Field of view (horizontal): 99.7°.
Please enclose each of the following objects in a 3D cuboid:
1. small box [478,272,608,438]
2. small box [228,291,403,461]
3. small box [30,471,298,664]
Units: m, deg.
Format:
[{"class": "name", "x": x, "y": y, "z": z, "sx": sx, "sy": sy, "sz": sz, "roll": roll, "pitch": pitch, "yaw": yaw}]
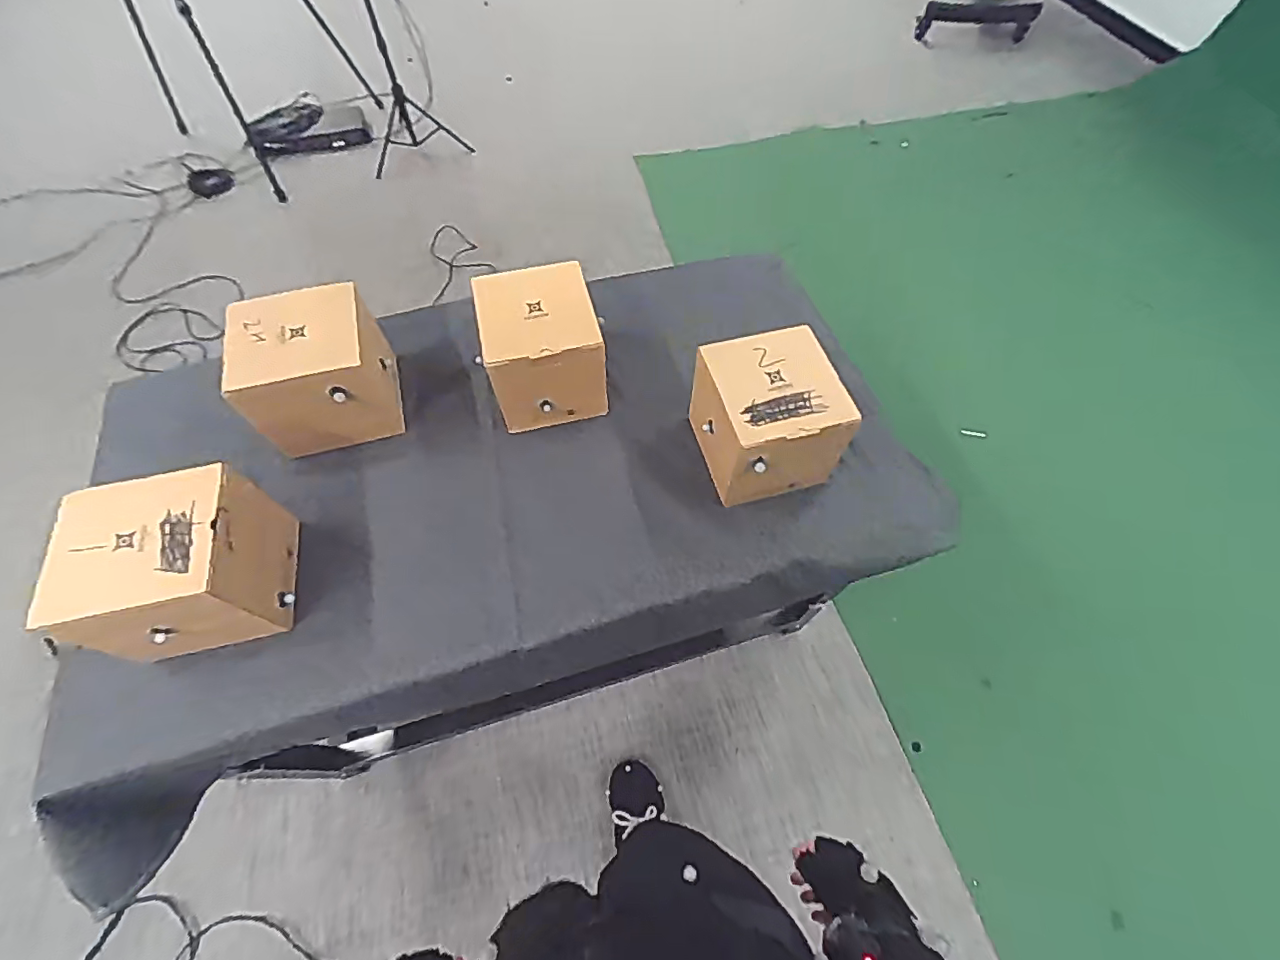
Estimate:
[{"class": "small box", "x": -0.148, "y": -0.192, "z": 0.850, "sx": 0.168, "sy": 0.176, "sz": 0.179, "roll": -12, "pitch": 63, "yaw": -9}, {"class": "small box", "x": -0.472, "y": -0.151, "z": 0.814, "sx": 0.179, "sy": 0.176, "sz": 0.168, "roll": -14, "pitch": 62, "yaw": -9}, {"class": "small box", "x": -0.554, "y": 0.112, "z": 0.665, "sx": 0.179, "sy": 0.176, "sz": 0.168, "roll": -12, "pitch": 61, "yaw": -7}]
